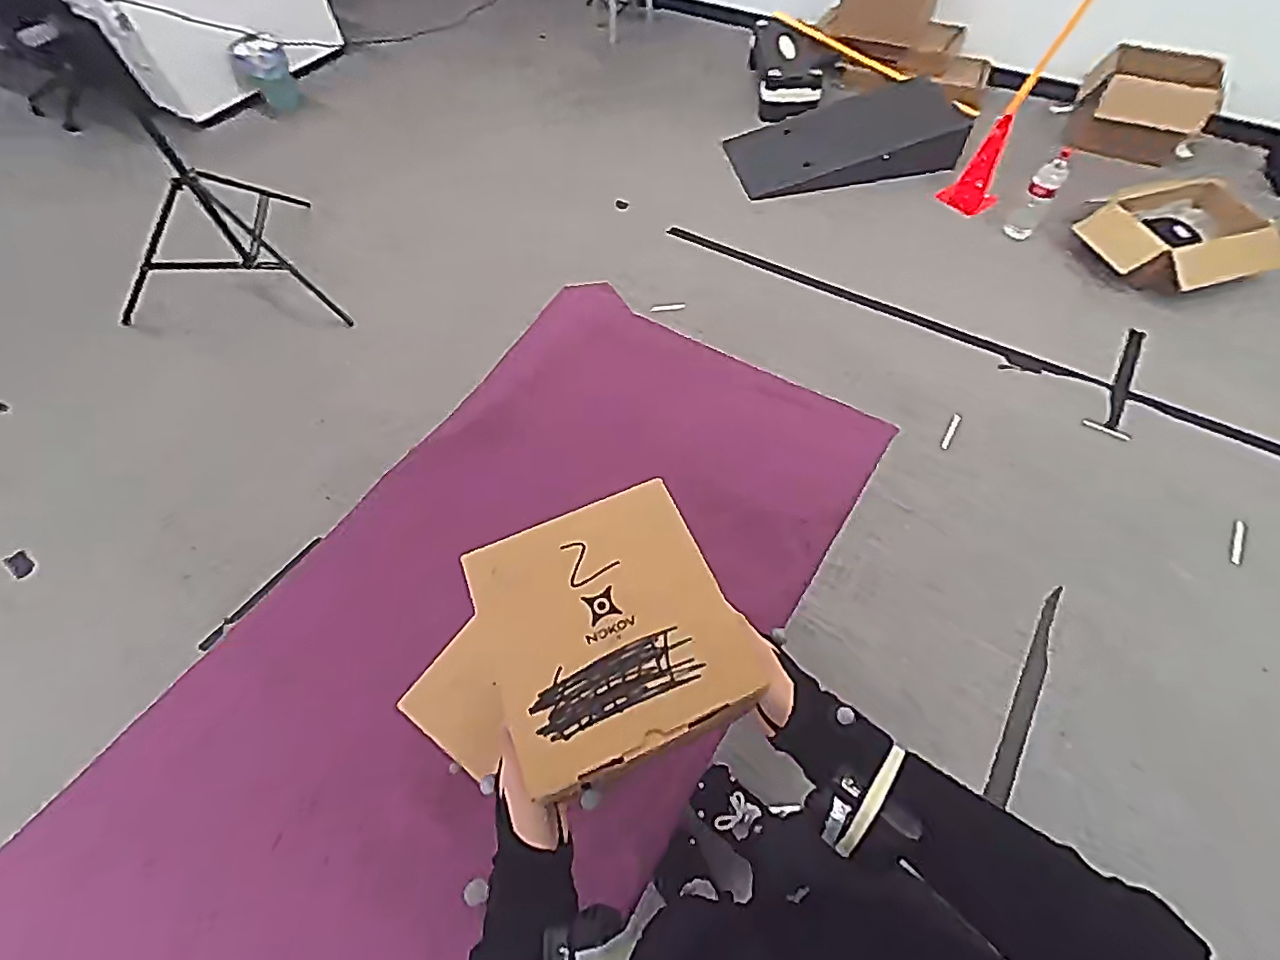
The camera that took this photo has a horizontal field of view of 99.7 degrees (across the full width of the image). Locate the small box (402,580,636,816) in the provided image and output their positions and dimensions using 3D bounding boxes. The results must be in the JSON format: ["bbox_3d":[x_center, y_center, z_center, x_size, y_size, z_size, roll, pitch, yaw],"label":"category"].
[{"bbox_3d":[-0.121,0.250,0.614,0.179,0.176,0.168,31,66,19],"label":"small box"}]
